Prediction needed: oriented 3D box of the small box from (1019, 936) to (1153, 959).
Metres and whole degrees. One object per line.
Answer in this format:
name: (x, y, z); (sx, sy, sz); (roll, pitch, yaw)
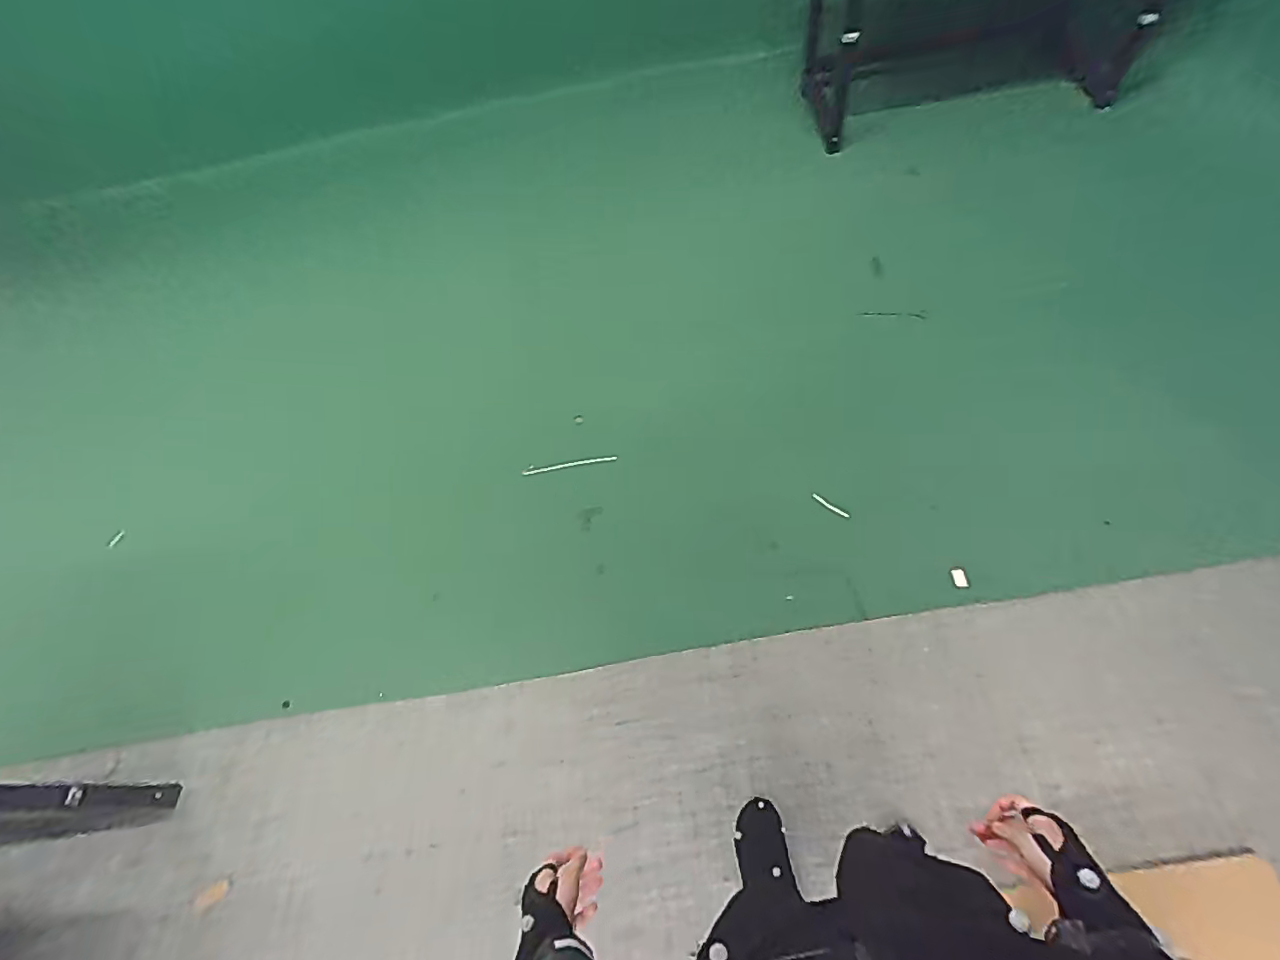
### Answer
small box: (0.806, 0.927, 0.943); (0.179, 0.176, 0.168); (-11, 59, 1)
